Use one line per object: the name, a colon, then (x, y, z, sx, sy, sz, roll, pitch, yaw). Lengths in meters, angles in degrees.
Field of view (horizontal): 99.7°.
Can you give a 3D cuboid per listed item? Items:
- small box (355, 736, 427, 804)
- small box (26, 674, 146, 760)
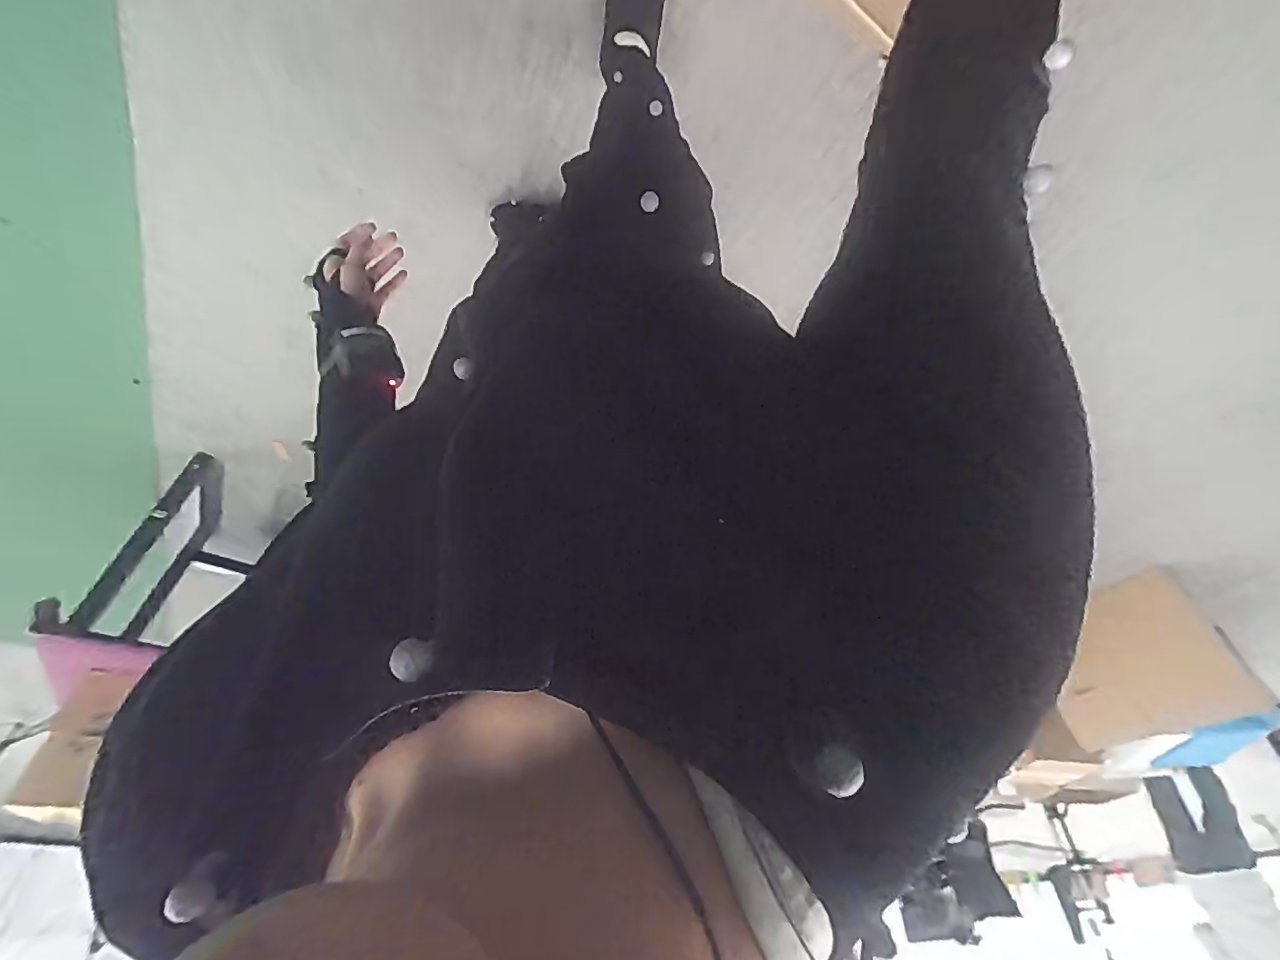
small box: (-0.850, 1.001, 1.867, 0.168, 0.176, 0.179, 3, 136, -5)
small box: (-1.507, 0.651, 1.485, 0.179, 0.176, 0.168, 25, 132, -25)
